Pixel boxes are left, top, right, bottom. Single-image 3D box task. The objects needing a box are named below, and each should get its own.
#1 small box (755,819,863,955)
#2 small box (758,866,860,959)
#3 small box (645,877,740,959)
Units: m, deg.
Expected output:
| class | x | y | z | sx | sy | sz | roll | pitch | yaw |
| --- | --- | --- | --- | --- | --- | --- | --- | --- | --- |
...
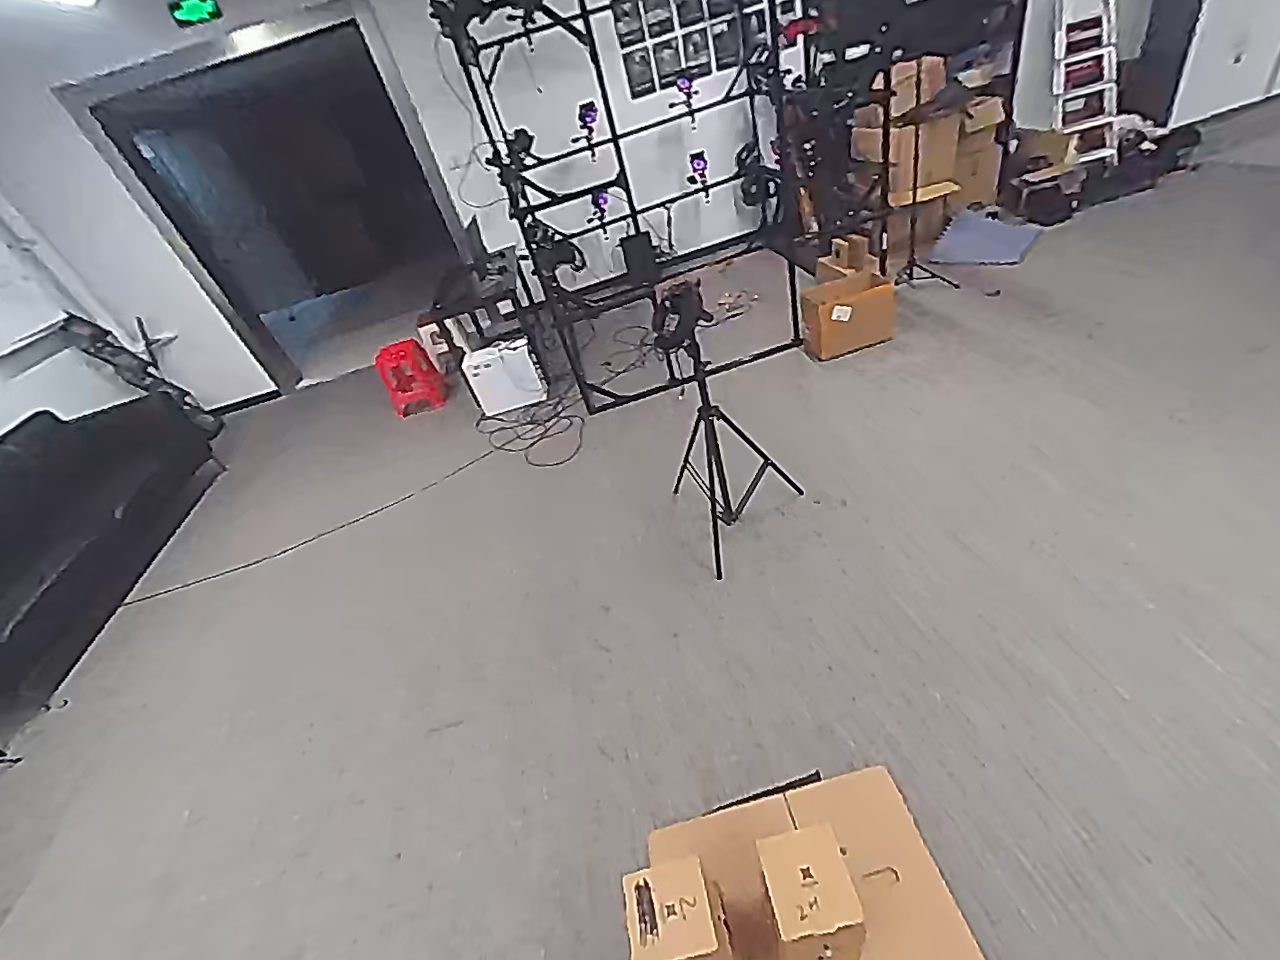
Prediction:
| class | x | y | z | sx | sy | sz | roll | pitch | yaw |
| --- | --- | --- | --- | --- | --- | --- | --- | --- | --- |
| small box | 0.352 | 0.858 | 1.141 | 0.168 | 0.176 | 0.179 | -16 | 37 | 3 |
| small box | 0.383 | 0.987 | 1.238 | 0.179 | 0.176 | 0.168 | -16 | 37 | 2 |
| small box | 0.126 | 1.059 | 1.250 | 0.179 | 0.176 | 0.168 | -18 | 37 | 2 |
